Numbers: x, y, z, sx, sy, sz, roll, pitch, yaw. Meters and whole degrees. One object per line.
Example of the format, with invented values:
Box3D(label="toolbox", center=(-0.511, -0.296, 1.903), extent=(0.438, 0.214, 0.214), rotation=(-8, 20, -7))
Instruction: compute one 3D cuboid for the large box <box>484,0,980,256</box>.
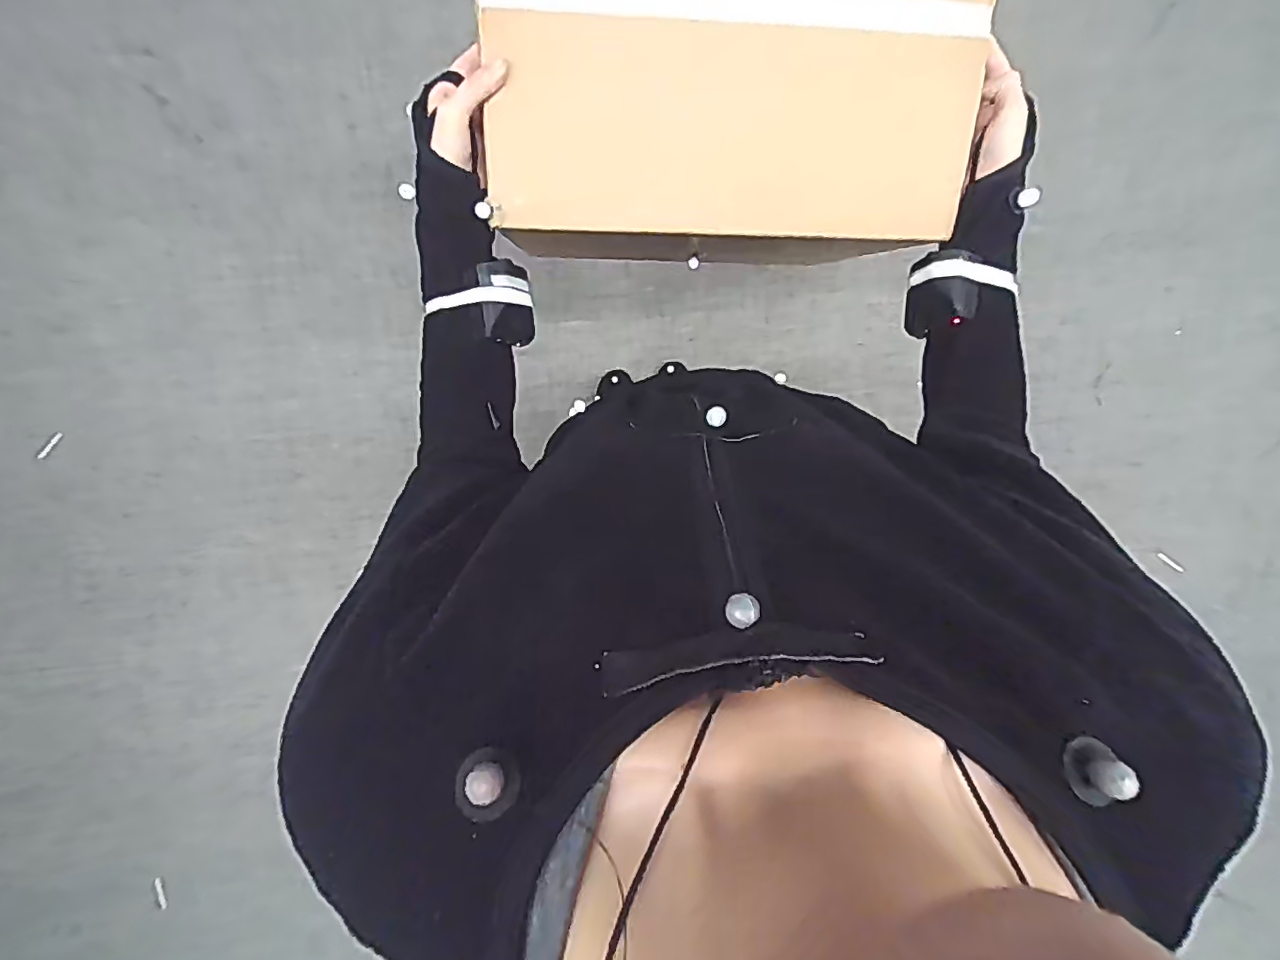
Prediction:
Box3D(label="large box", center=(0.068, -0.412, 0.573), extent=(0.408, 0.320, 0.320), rotation=(-1, 107, -4))
